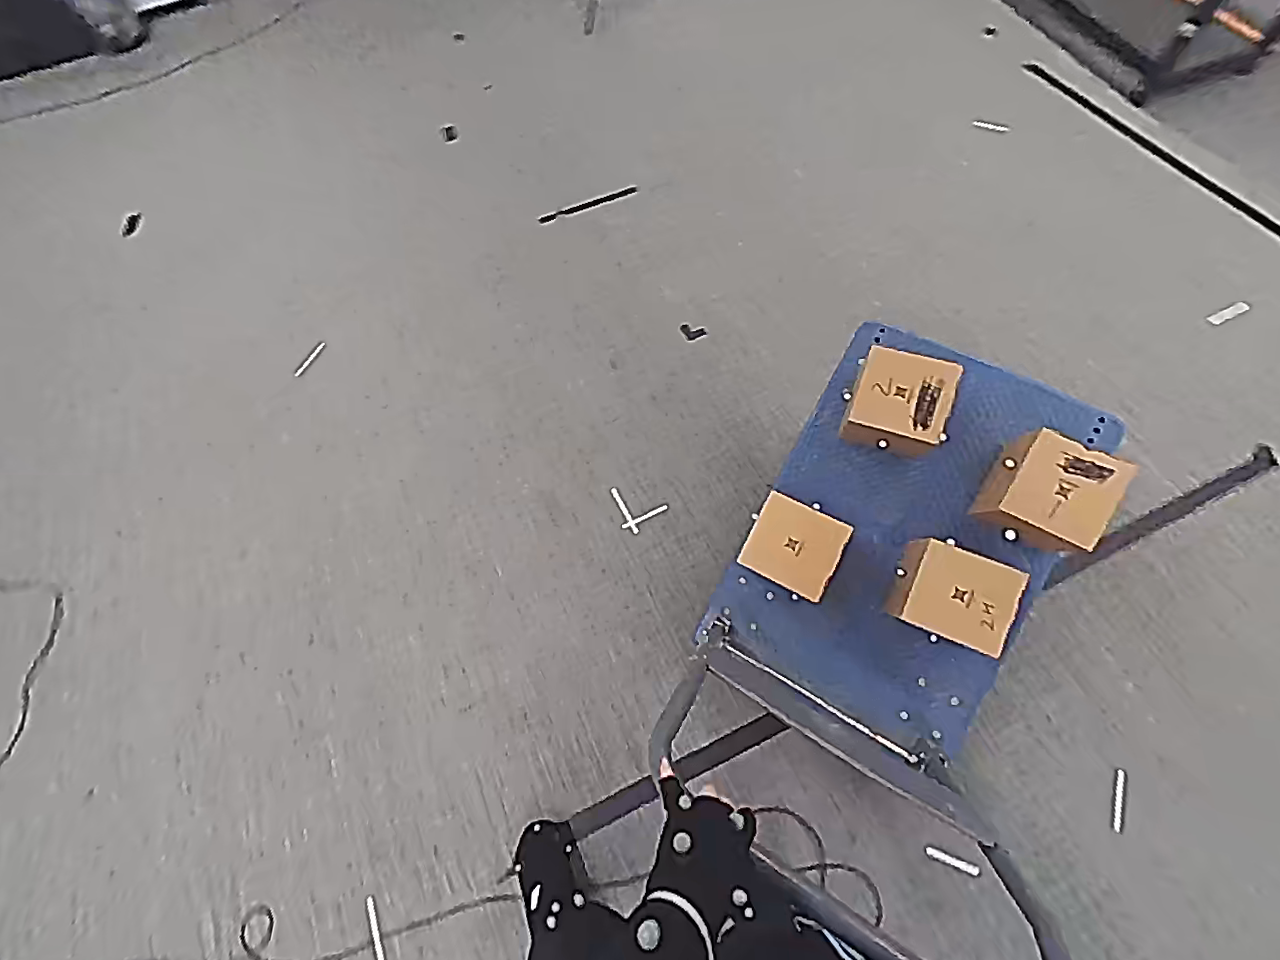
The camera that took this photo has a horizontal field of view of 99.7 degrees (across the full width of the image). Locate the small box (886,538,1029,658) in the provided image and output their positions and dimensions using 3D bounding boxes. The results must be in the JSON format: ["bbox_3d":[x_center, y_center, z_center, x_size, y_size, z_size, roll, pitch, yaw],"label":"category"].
[{"bbox_3d":[0.610,0.226,1.066,0.179,0.176,0.168,22,88,16],"label":"small box"}]

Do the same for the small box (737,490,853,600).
[{"bbox_3d":[0.321,0.139,1.148,0.179,0.176,0.168,26,89,14],"label":"small box"}]

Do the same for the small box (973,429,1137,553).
[{"bbox_3d":[0.790,0.027,1.052,0.168,0.176,0.179,29,91,16],"label":"small box"}]
